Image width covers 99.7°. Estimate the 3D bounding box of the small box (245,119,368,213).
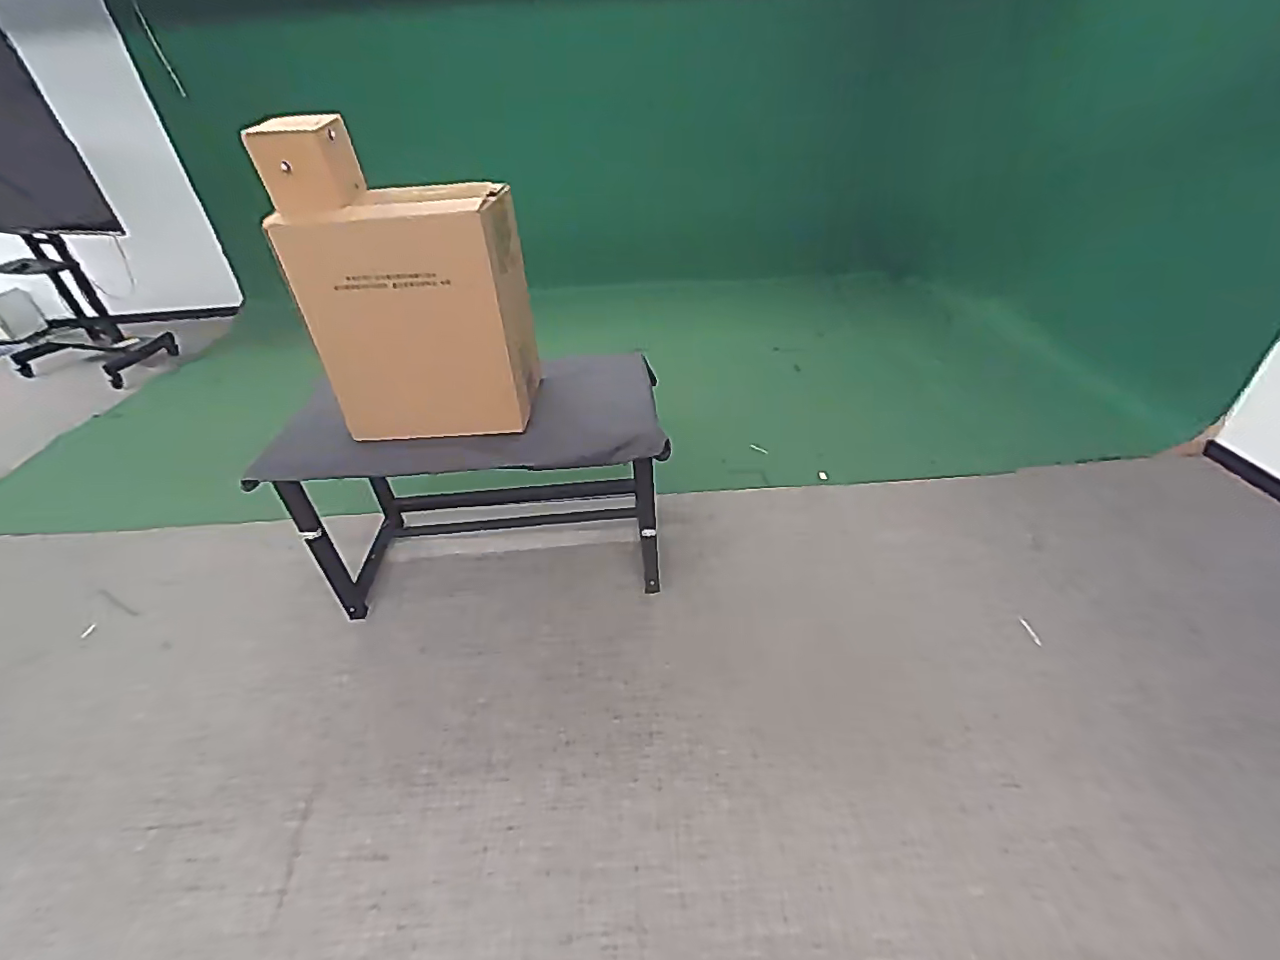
[{"bbox_3d":[-0.823,-0.784,1.356,0.179,0.176,0.168,-3,45,2],"label":"small box"}]
